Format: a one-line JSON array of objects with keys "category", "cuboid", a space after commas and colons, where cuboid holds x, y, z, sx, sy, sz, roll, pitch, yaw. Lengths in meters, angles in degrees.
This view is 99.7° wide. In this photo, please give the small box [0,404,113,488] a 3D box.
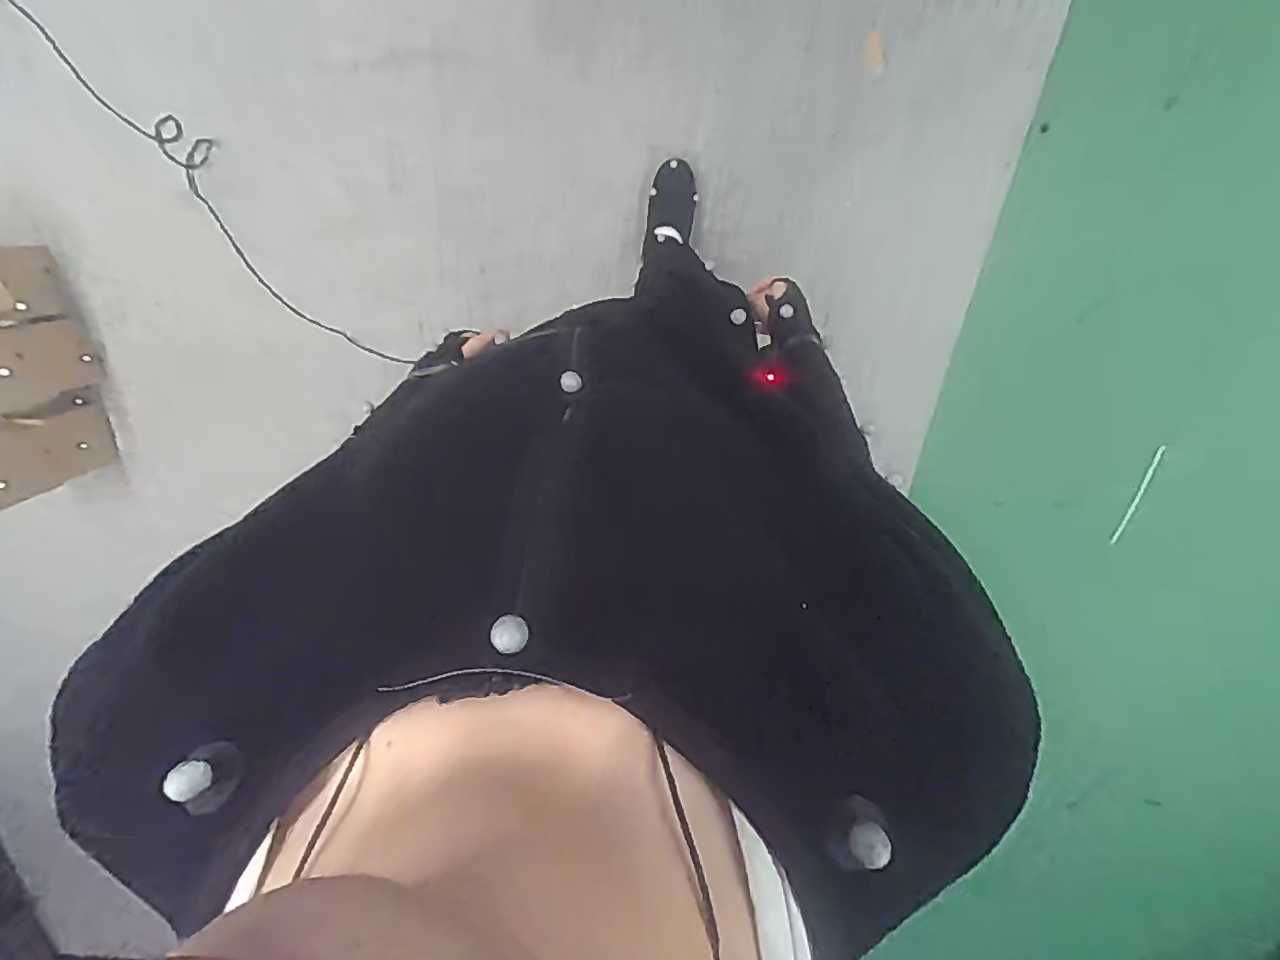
[{"category": "small box", "cuboid": [-1.590, -0.098, 1.453, 0.168, 0.176, 0.179, 6, 114, -1]}]

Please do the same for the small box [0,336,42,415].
[{"category": "small box", "cuboid": [-1.537, -0.220, 1.224, 0.179, 0.176, 0.168, -10, 112, 6]}]

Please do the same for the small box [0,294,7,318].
[{"category": "small box", "cuboid": [-1.530, -0.401, 1.144, 0.179, 0.176, 0.168, -17, 112, 9]}]
